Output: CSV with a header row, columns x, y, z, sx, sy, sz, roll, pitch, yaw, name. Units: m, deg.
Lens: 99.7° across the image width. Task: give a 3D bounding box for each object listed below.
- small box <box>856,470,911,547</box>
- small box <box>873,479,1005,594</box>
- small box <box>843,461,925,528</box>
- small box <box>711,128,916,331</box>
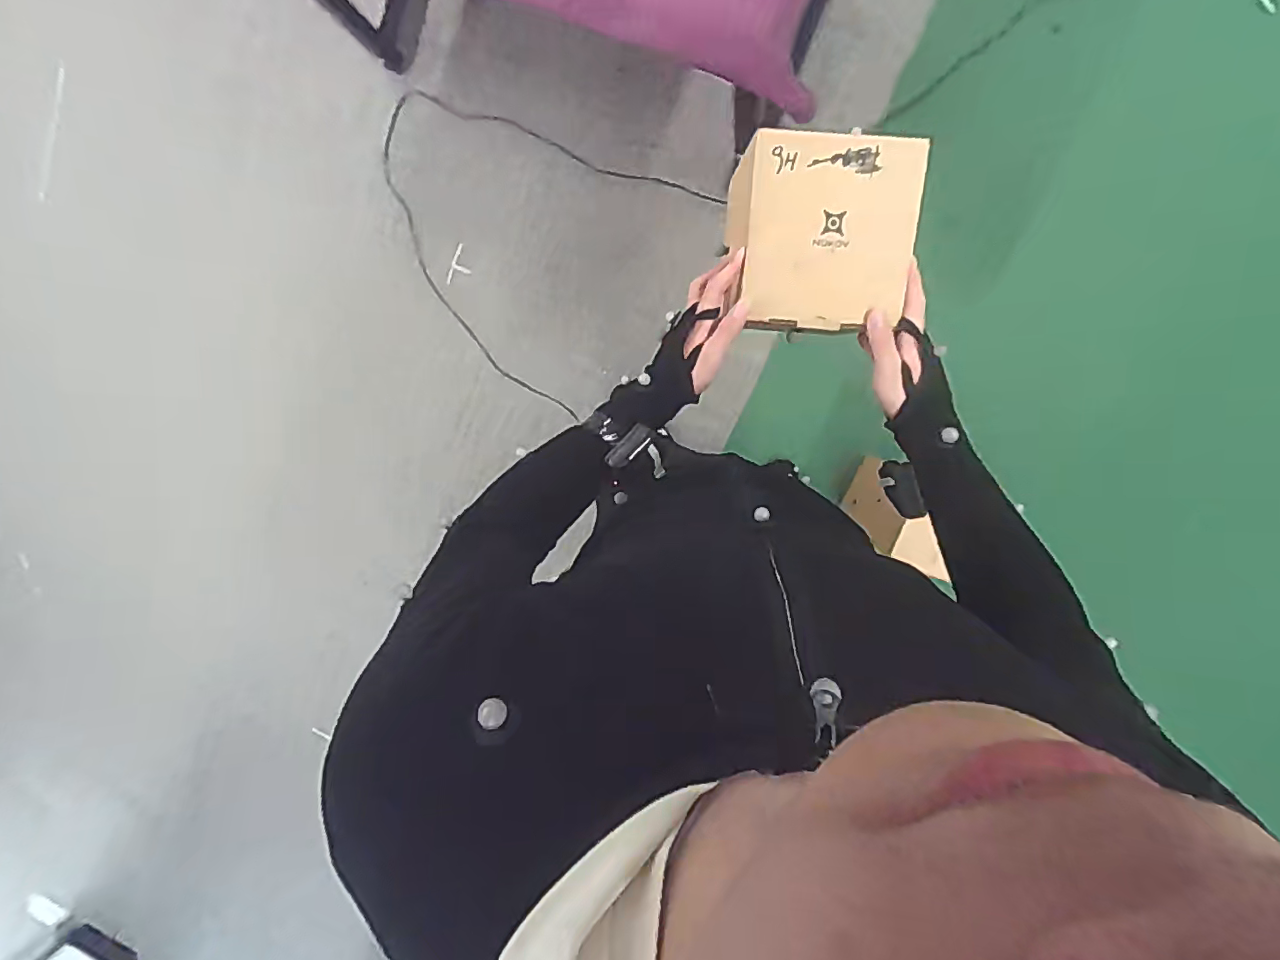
x,y,z,sx,sy,sz,roll,pitch,yaw,name
0.645,0.090,1.311,0.168,0.176,0.179,23,100,6,small box
0.620,0.109,1.150,0.168,0.176,0.179,21,101,7,small box
0.672,0.063,1.469,0.168,0.176,0.179,26,100,5,small box
0.174,-0.261,0.603,0.168,0.176,0.179,3,104,0,small box
